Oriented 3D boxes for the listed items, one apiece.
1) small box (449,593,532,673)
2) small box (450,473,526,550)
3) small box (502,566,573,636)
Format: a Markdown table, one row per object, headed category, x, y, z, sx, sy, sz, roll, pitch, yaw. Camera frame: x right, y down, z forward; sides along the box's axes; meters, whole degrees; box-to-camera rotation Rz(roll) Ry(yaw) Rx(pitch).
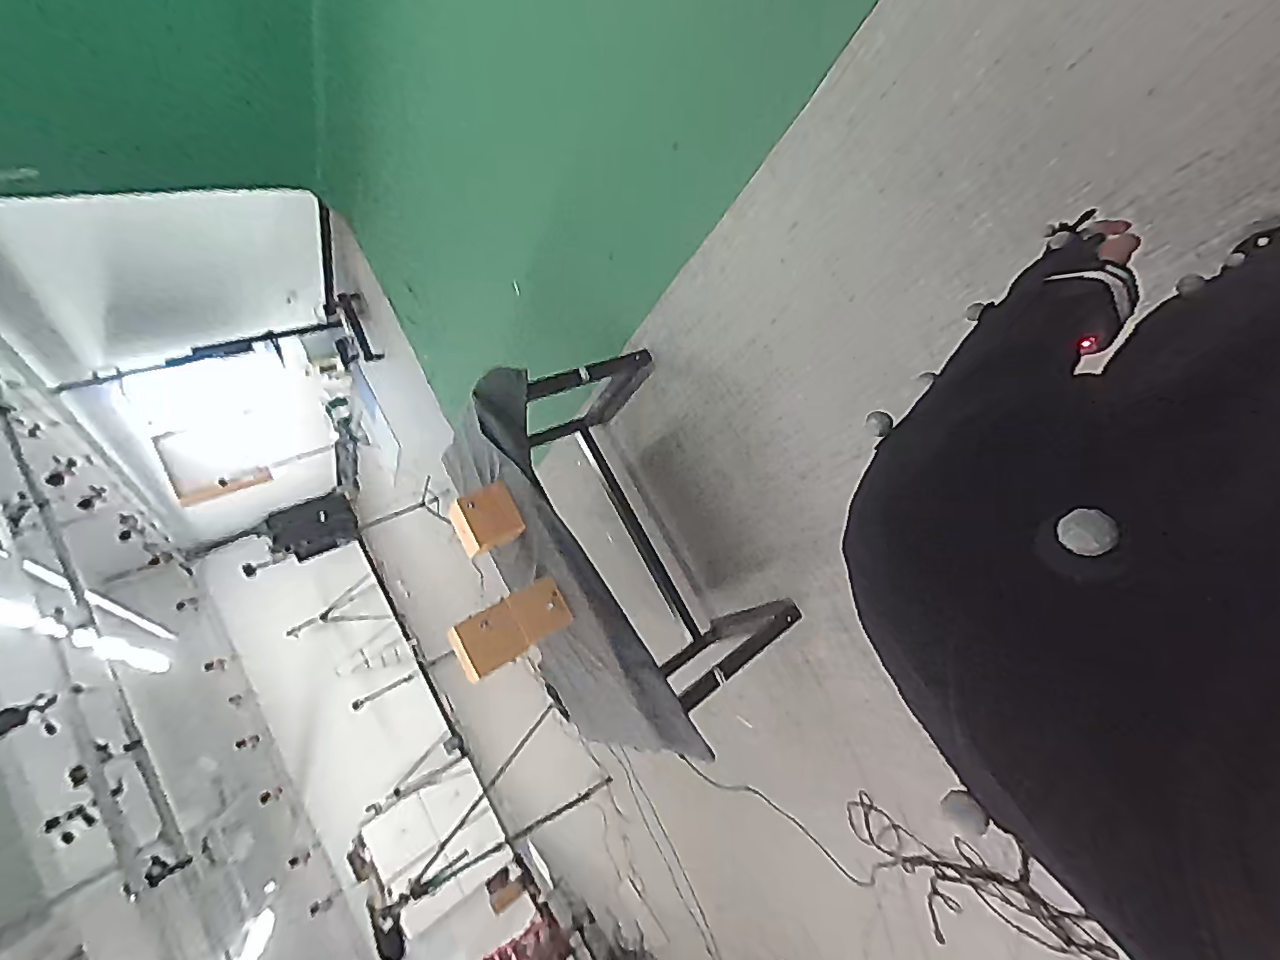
| category | x | y | z | sx | sy | sz | roll | pitch | yaw |
| --- | --- | --- | --- | --- | --- | --- | --- | --- | --- |
| small box | -0.457 | 0.462 | 1.648 | 0.179 | 0.176 | 0.168 | 59 | 147 | 7 |
| small box | -0.497 | 0.103 | 1.770 | 0.179 | 0.176 | 0.168 | 62 | 147 | 6 |
| small box | -0.338 | 0.399 | 1.740 | 0.168 | 0.176 | 0.179 | 60 | 145 | 6 |
